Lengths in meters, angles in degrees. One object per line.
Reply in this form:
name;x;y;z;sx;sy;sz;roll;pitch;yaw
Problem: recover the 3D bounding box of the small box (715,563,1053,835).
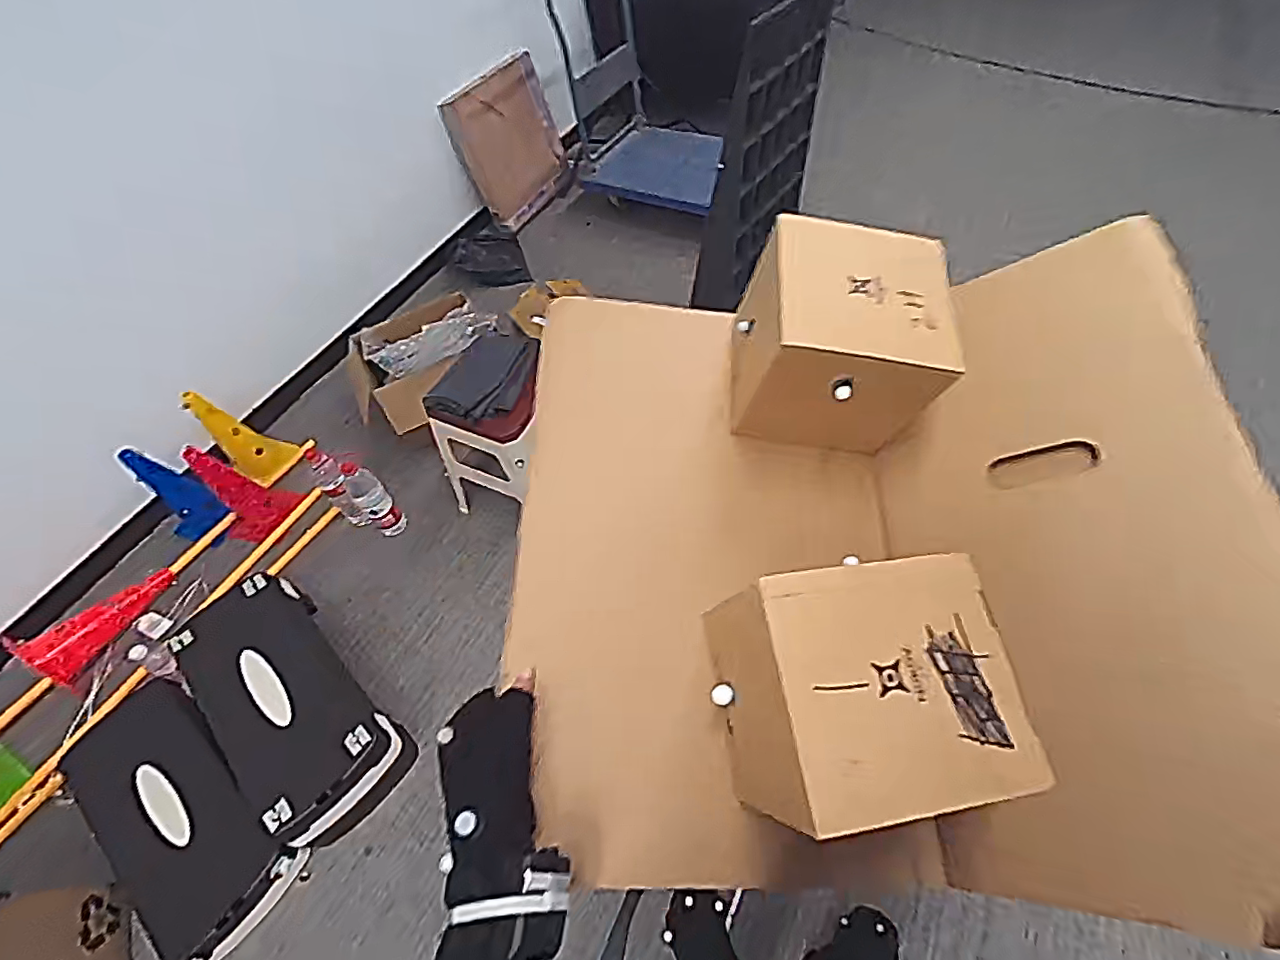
small box;0.178;0.175;0.456;0.179;0.176;0.168;-4;67;-8
